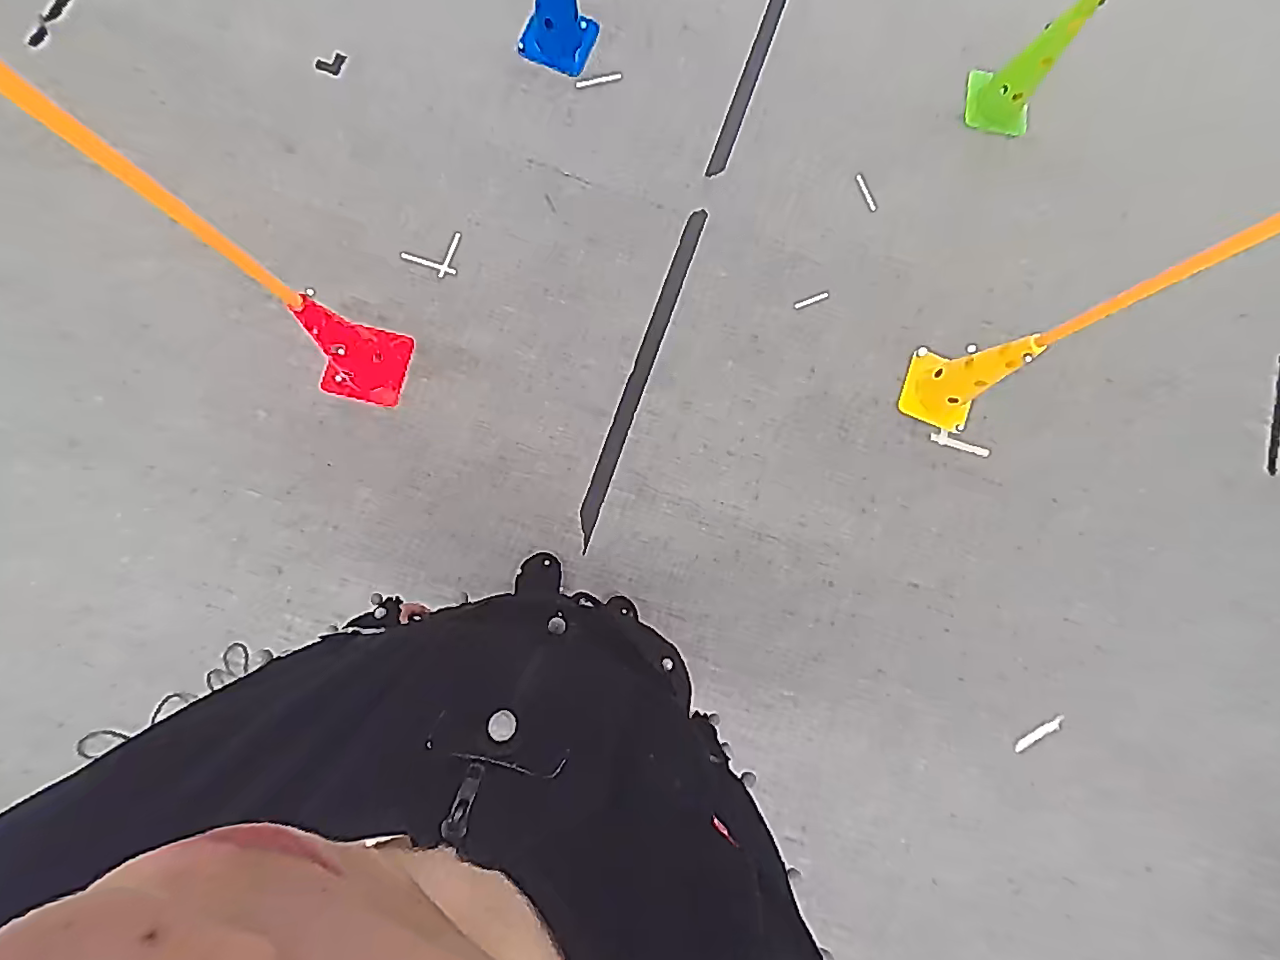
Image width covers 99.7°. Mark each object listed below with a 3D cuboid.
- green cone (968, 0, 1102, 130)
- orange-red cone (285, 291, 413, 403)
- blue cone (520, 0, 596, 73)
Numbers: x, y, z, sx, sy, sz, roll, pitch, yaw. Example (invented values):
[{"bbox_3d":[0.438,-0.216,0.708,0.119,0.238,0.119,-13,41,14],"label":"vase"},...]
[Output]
[{"bbox_3d":[1.131,-1.210,1.507,0.200,0.368,0.202,9,83,-3],"label":"green cone"},{"bbox_3d":[-0.690,-0.332,1.230,0.199,0.360,0.198,15,81,-4],"label":"orange-red cone"},{"bbox_3d":[-0.226,-1.323,1.426,0.193,0.380,0.192,22,81,-1],"label":"blue cone"}]
